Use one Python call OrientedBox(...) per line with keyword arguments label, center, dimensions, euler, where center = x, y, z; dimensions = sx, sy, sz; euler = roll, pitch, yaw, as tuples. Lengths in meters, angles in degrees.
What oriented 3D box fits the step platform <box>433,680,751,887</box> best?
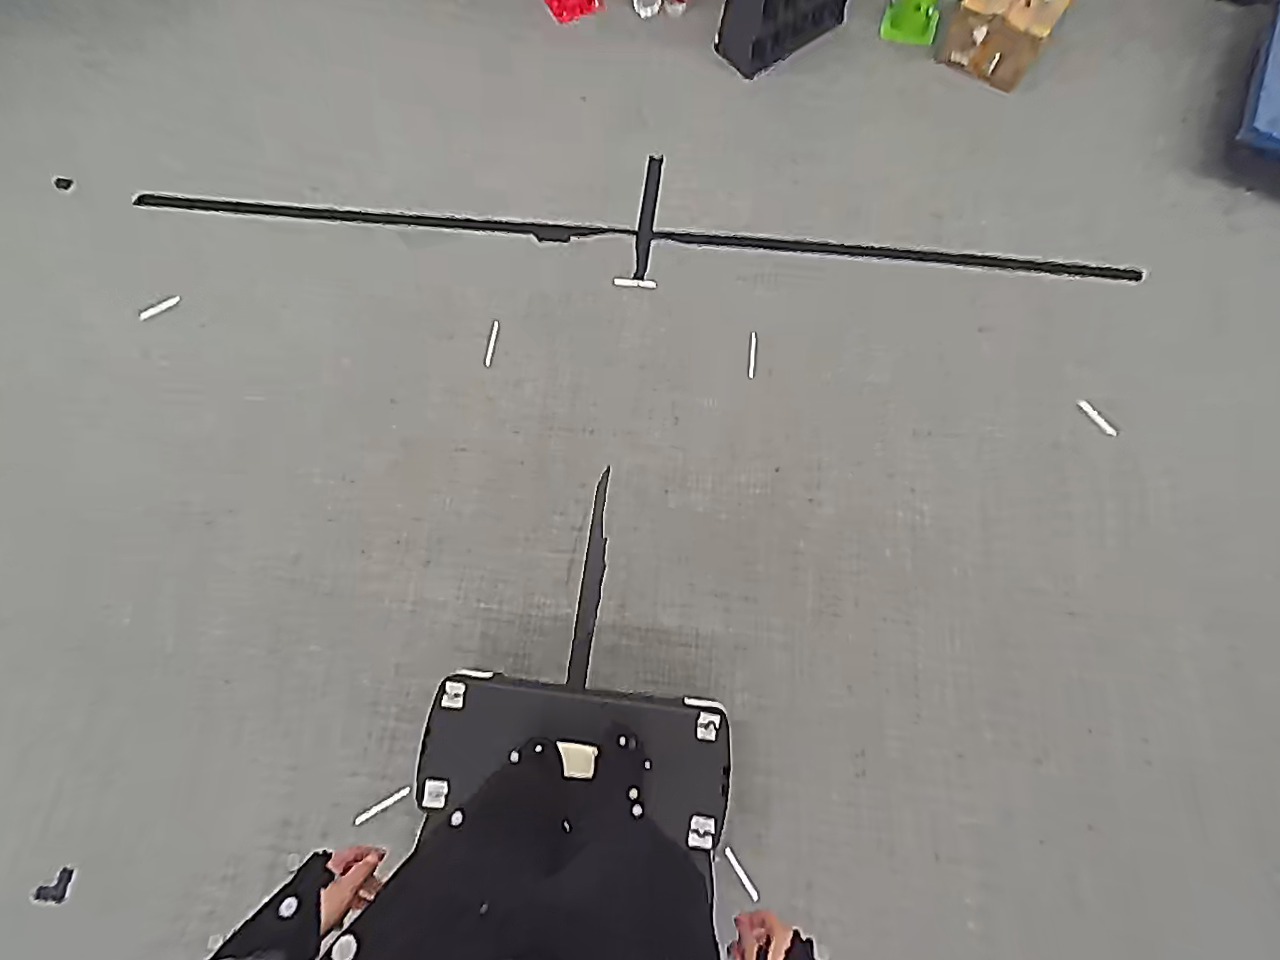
OrientedBox(label="step platform", center=(-0.099, 0.662, 1.220), dimensions=(0.684, 0.204, 0.286), euler=(11, 71, 3))
